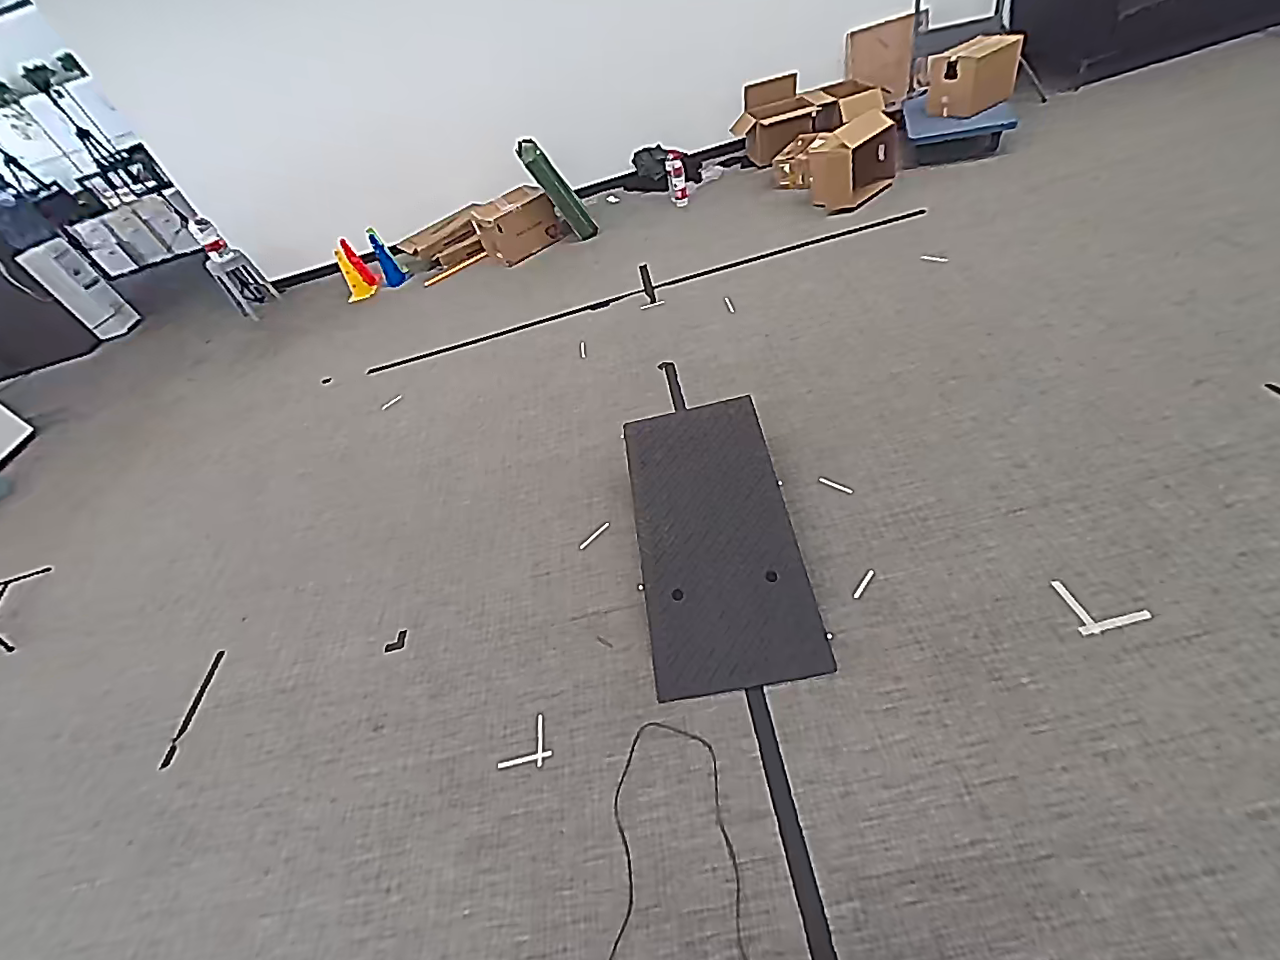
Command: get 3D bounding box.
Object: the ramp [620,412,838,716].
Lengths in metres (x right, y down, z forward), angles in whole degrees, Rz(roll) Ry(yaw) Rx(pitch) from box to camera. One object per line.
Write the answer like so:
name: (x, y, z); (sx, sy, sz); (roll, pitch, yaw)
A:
ramp: (0.231, 0.200, 1.754); (0.509, 0.206, 0.991); (-15, 44, 4)
